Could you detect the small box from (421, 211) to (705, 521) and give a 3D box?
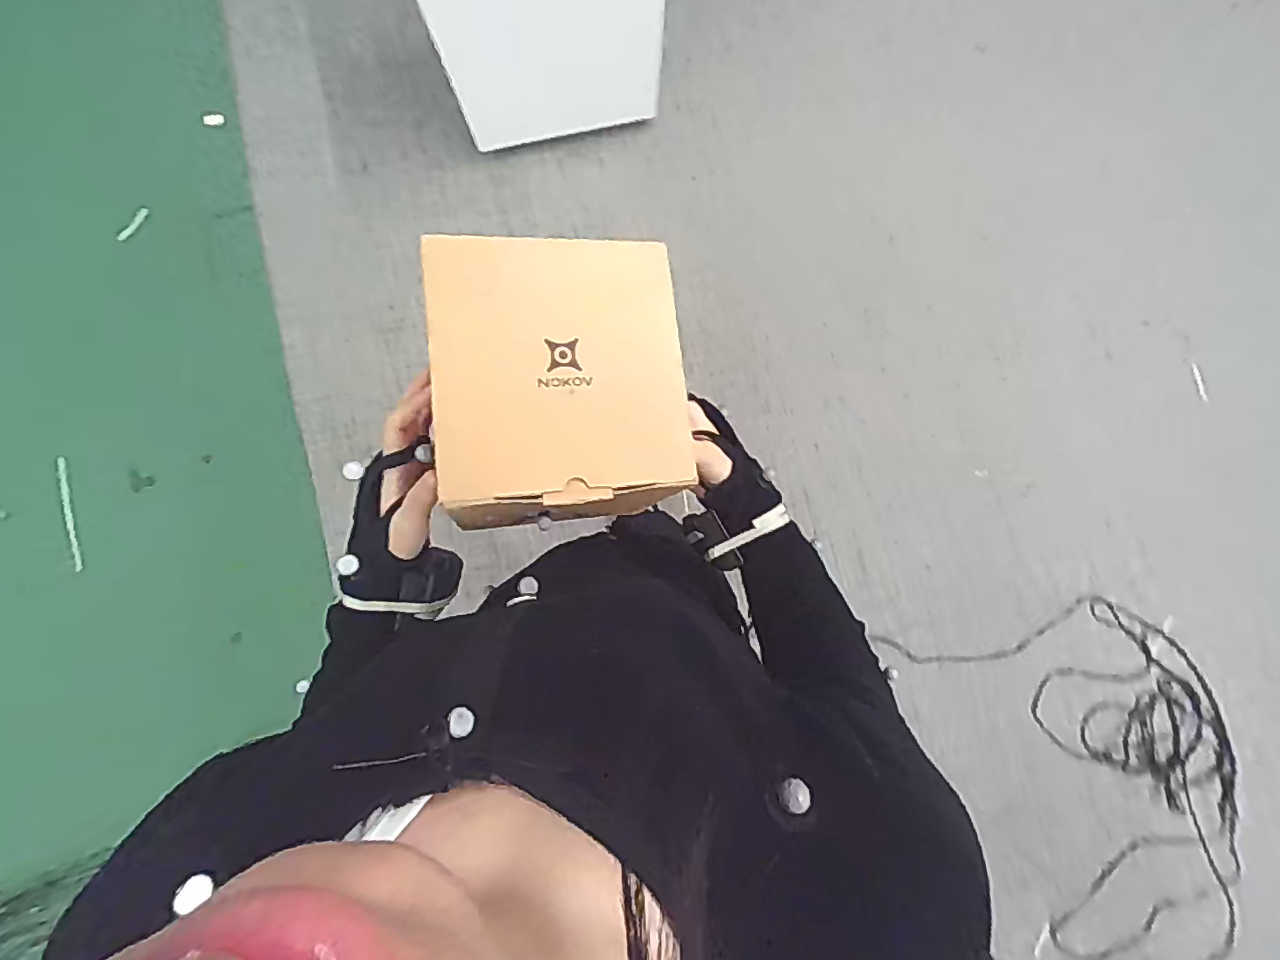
[{"bbox_3d":[-0.067,-0.070,0.412,0.168,0.176,0.179,-5,81,-15],"label":"small box"}]
